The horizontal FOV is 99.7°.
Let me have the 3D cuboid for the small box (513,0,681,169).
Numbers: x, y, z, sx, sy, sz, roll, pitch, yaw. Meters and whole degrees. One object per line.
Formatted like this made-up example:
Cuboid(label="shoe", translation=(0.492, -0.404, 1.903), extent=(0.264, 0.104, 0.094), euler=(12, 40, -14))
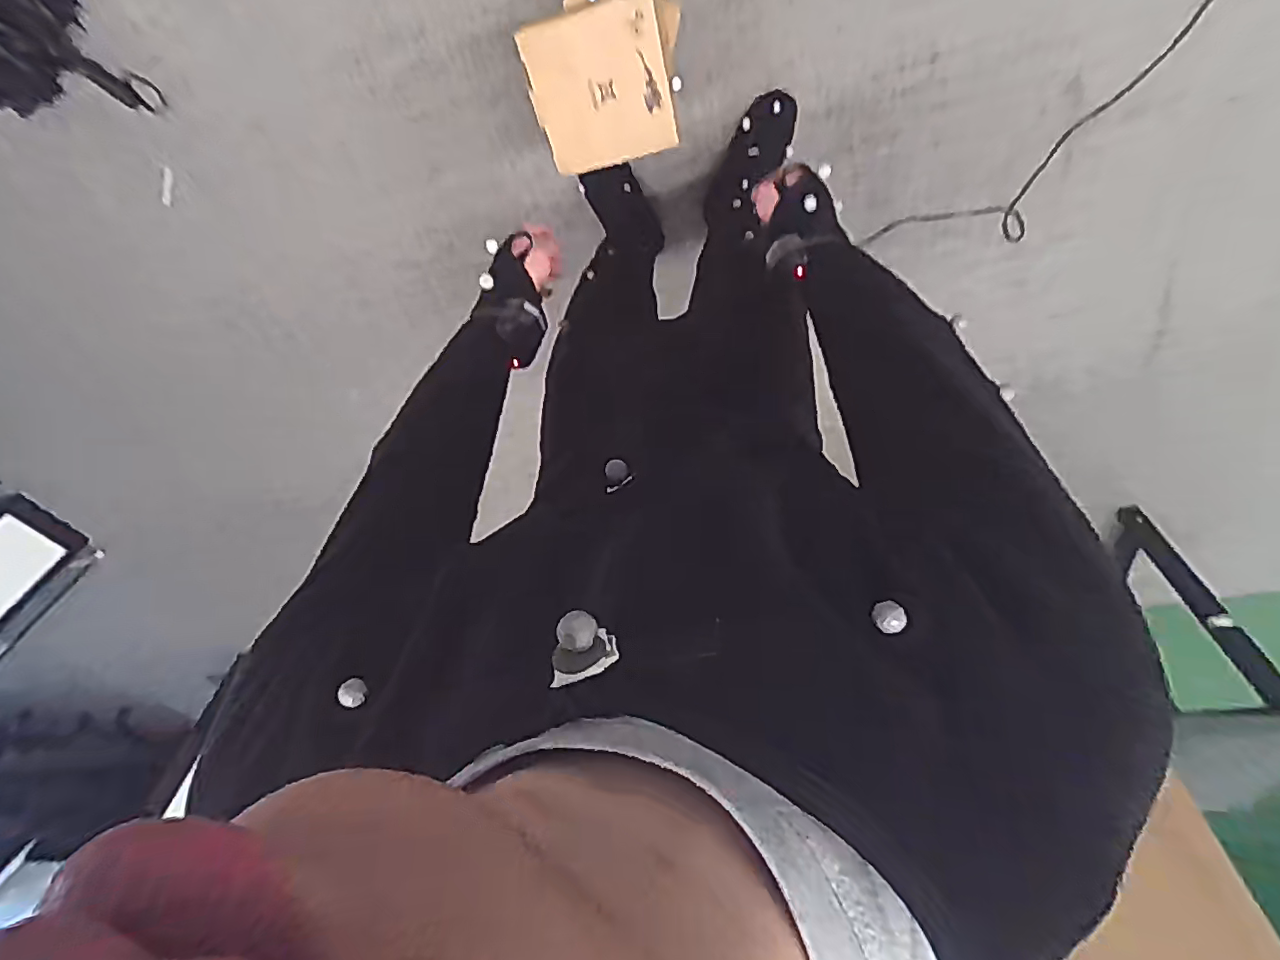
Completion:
Cuboid(label="small box", translation=(-0.046, -0.556, 0.741), extent=(0.179, 0.176, 0.168), euler=(-6, 135, 13))
